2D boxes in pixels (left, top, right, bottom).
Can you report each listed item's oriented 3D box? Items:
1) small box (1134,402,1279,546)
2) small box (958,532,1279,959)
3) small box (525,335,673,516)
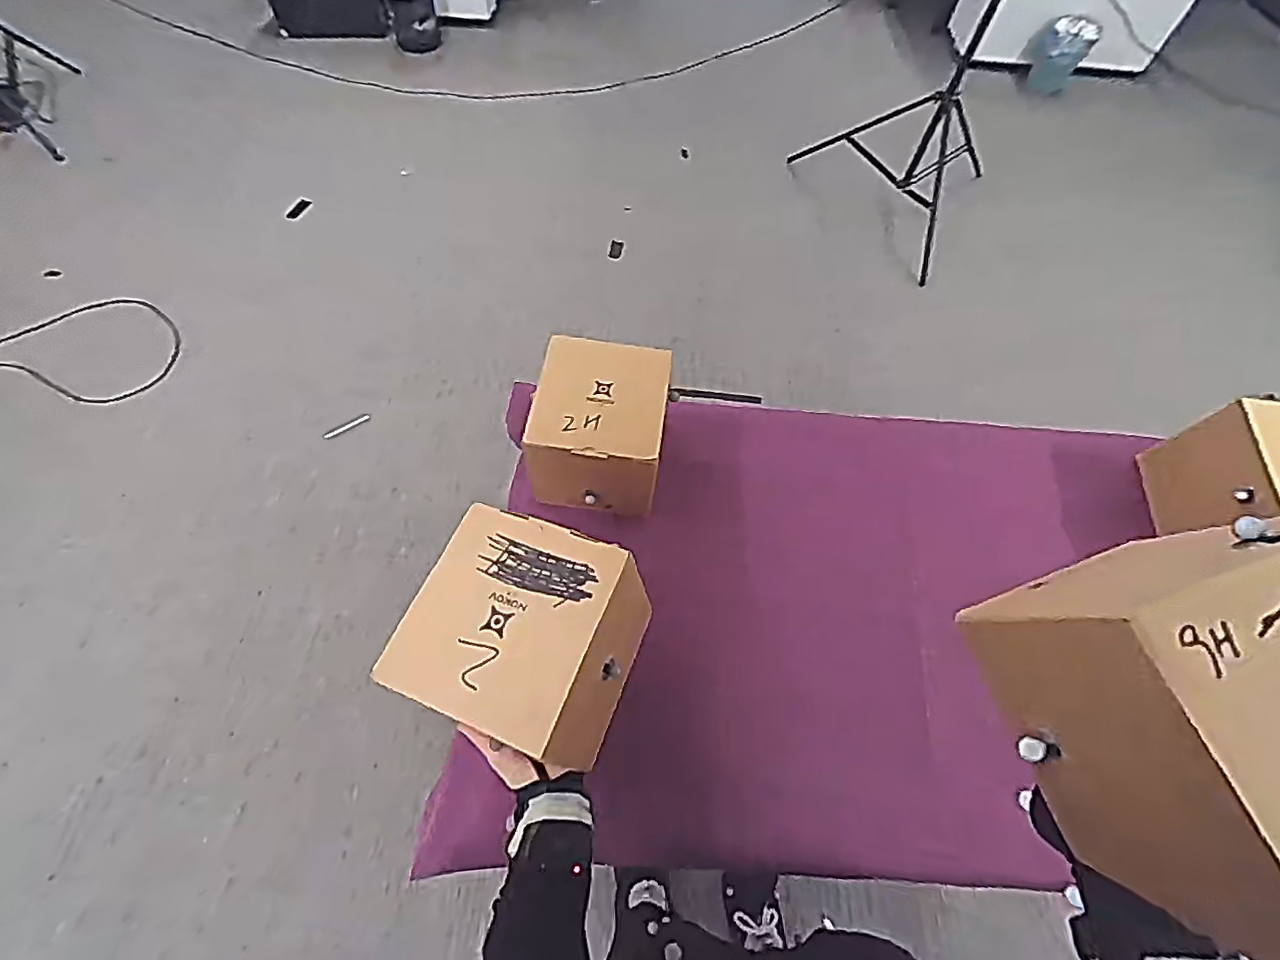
[{"bbox_3d":[0.859,0.018,0.763,0.168,0.176,0.179,8,65,1],"label":"small box"},{"bbox_3d":[0.339,0.137,0.322,0.168,0.176,0.179,-21,76,-2],"label":"small box"},{"bbox_3d":[-0.053,-0.070,0.755,0.168,0.176,0.179,8,63,1],"label":"small box"}]
